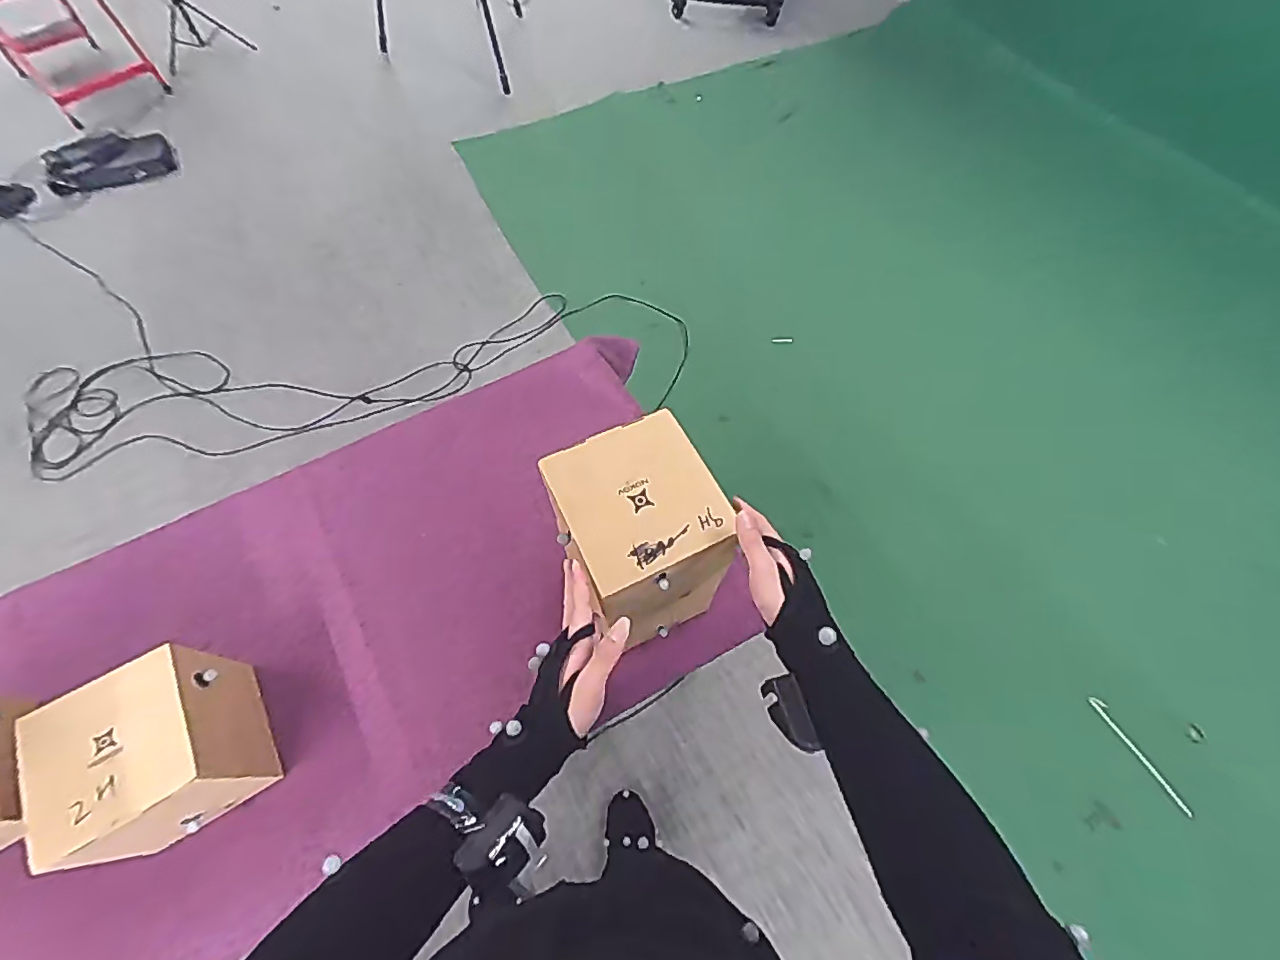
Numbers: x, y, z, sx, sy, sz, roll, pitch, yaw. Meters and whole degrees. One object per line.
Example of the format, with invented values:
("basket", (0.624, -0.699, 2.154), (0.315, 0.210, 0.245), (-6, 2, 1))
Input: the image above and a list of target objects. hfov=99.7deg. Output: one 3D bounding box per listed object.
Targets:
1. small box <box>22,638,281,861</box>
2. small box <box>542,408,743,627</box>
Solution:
("small box", (-0.597, 0.330, 0.679), (0.168, 0.176, 0.179), (-28, 67, -14))
("small box", (-0.002, 0.051, 0.649), (0.168, 0.176, 0.179), (-24, 65, -11))
